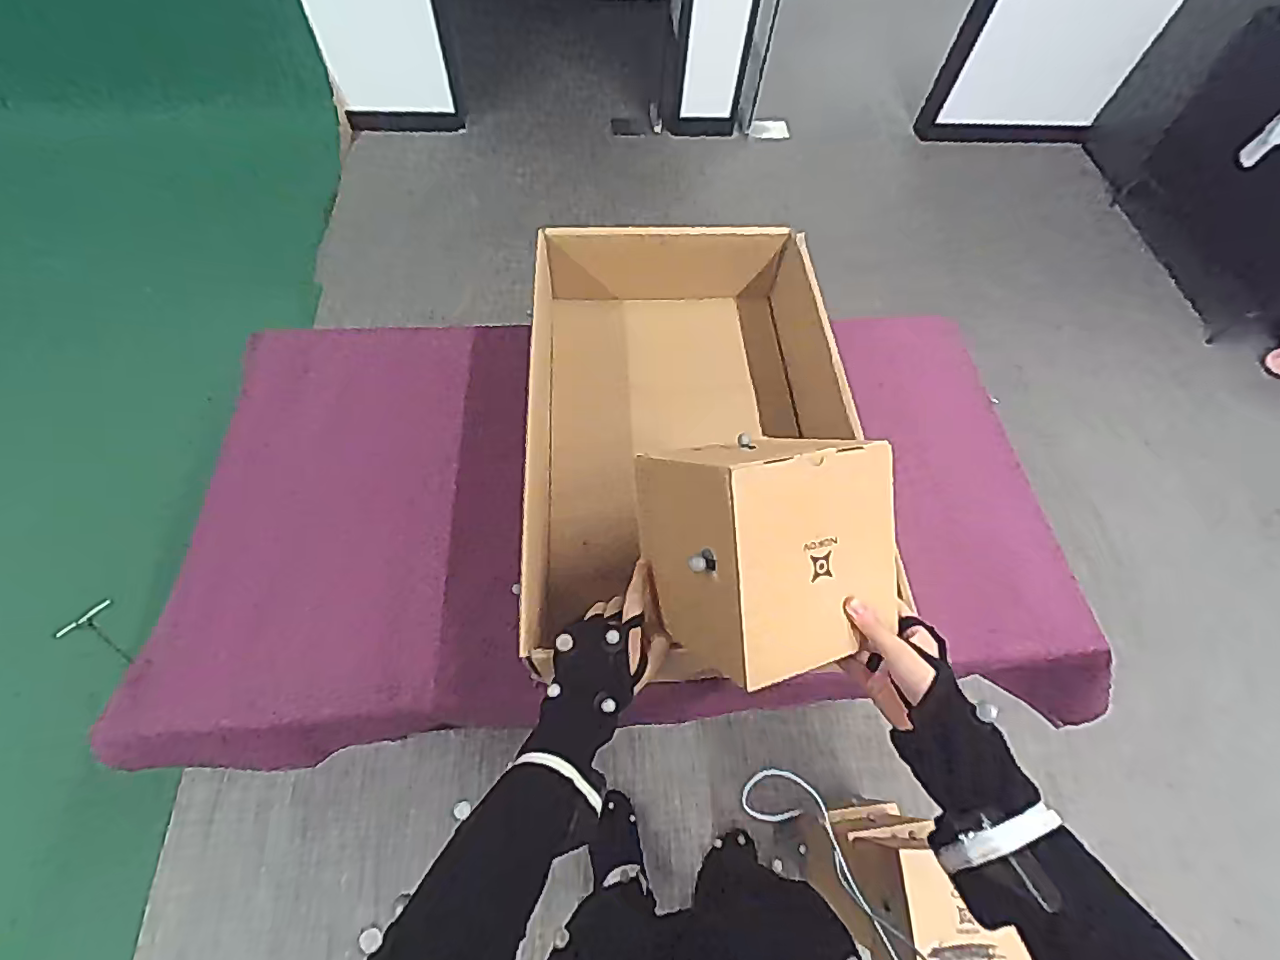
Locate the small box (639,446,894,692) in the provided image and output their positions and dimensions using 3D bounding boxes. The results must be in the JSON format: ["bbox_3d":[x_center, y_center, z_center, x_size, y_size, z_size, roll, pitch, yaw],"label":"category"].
[{"bbox_3d":[0.110,0.063,0.511,0.168,0.176,0.179,-9,97,-23],"label":"small box"}]

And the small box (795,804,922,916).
[{"bbox_3d":[0.455,0.799,1.152,0.179,0.176,0.168,-4,62,-5],"label":"small box"}]
